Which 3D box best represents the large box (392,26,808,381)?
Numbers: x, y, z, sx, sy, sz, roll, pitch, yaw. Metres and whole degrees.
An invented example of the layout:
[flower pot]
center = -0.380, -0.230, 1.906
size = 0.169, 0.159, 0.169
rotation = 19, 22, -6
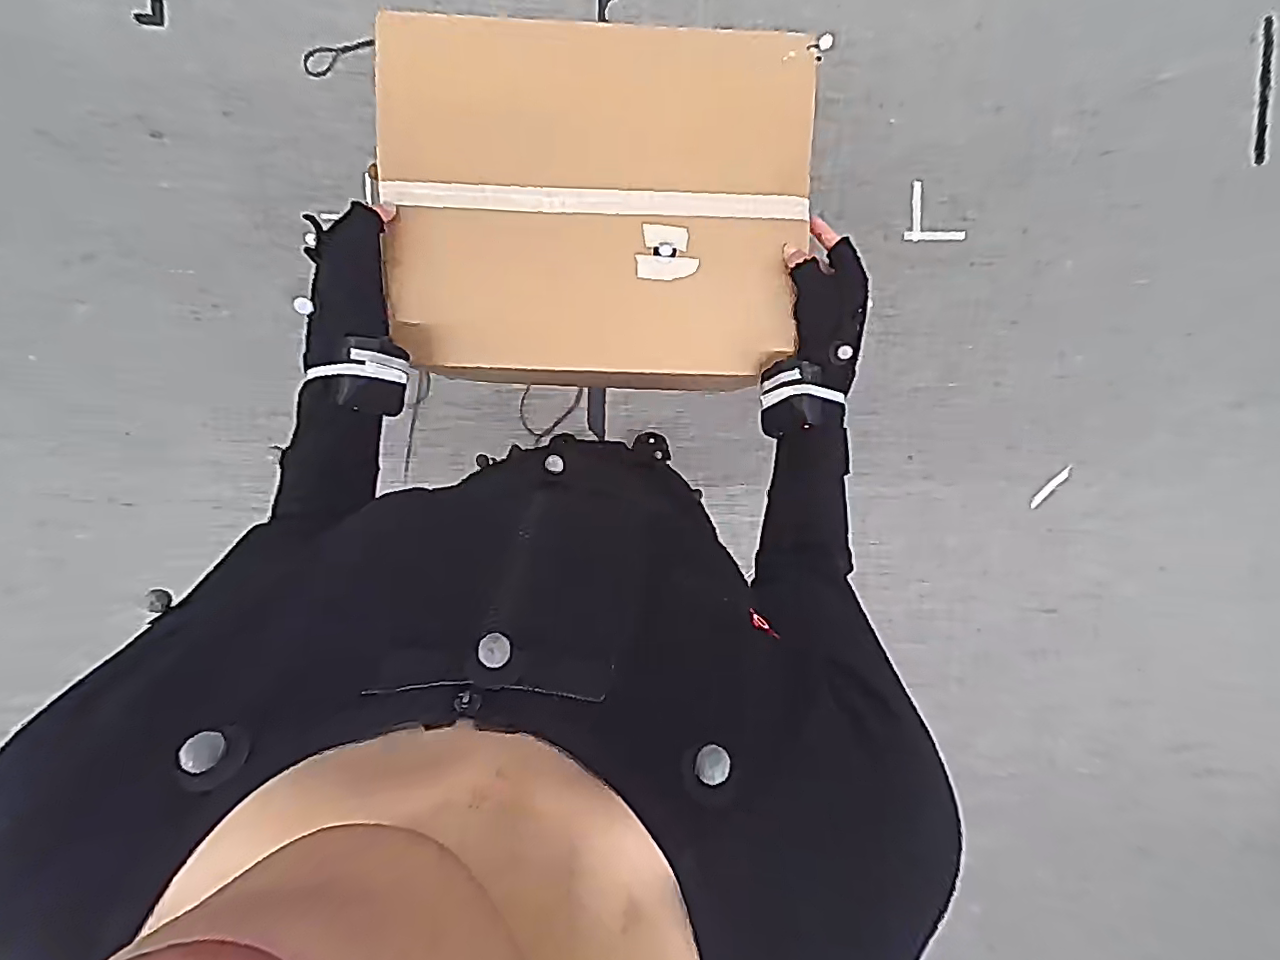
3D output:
[large box]
center = -0.044, -0.291, 0.679
size = 0.408, 0.320, 0.320
rotation = 1, 98, -3
